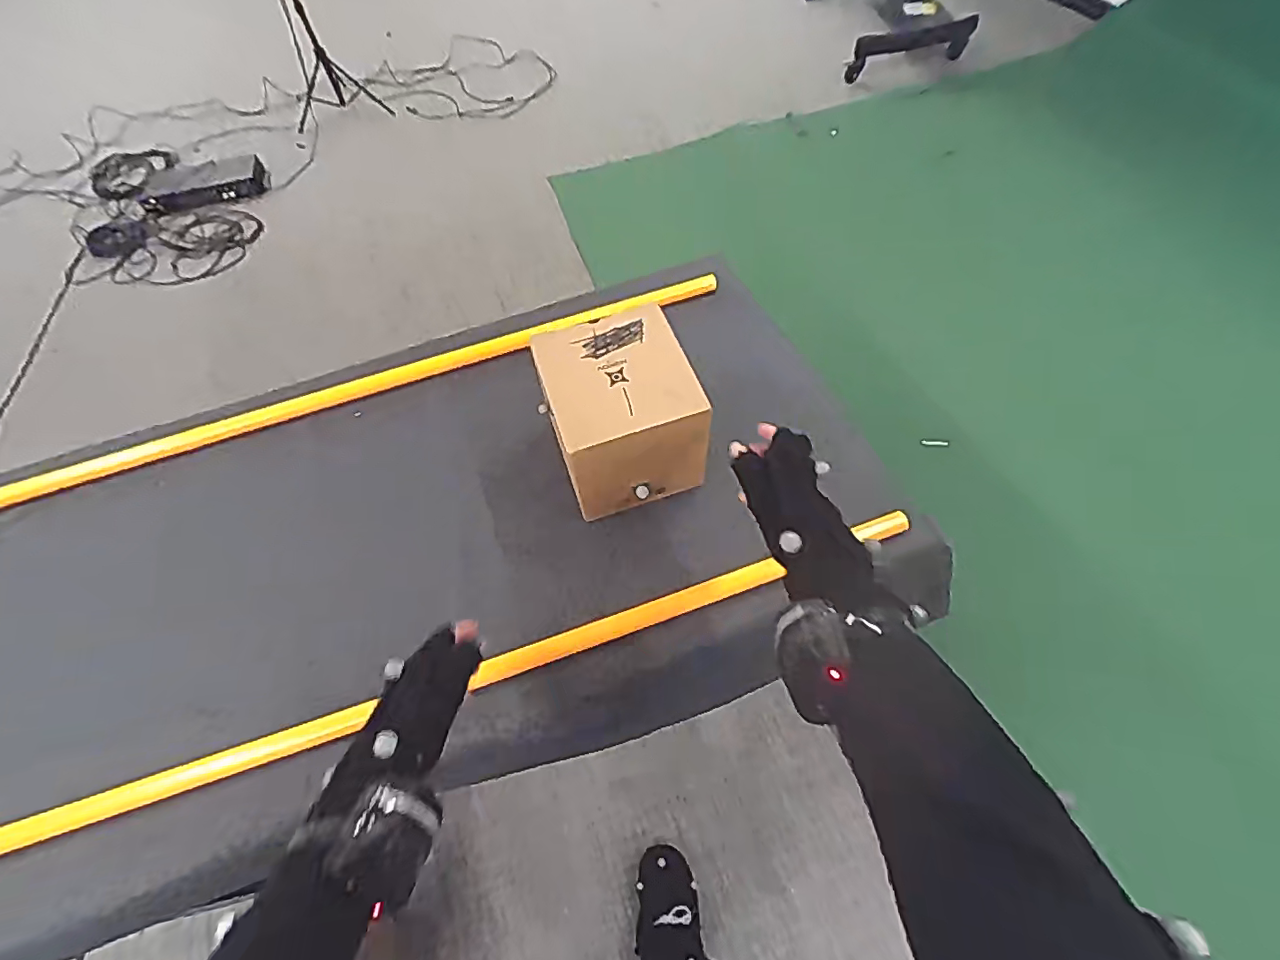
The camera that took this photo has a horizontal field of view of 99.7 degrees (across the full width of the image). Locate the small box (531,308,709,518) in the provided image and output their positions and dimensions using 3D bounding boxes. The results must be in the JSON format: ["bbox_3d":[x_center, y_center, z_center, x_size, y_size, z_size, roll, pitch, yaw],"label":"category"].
[{"bbox_3d":[-0.026,-0.080,0.683,0.168,0.176,0.179,-18,61,-7],"label":"small box"}]
